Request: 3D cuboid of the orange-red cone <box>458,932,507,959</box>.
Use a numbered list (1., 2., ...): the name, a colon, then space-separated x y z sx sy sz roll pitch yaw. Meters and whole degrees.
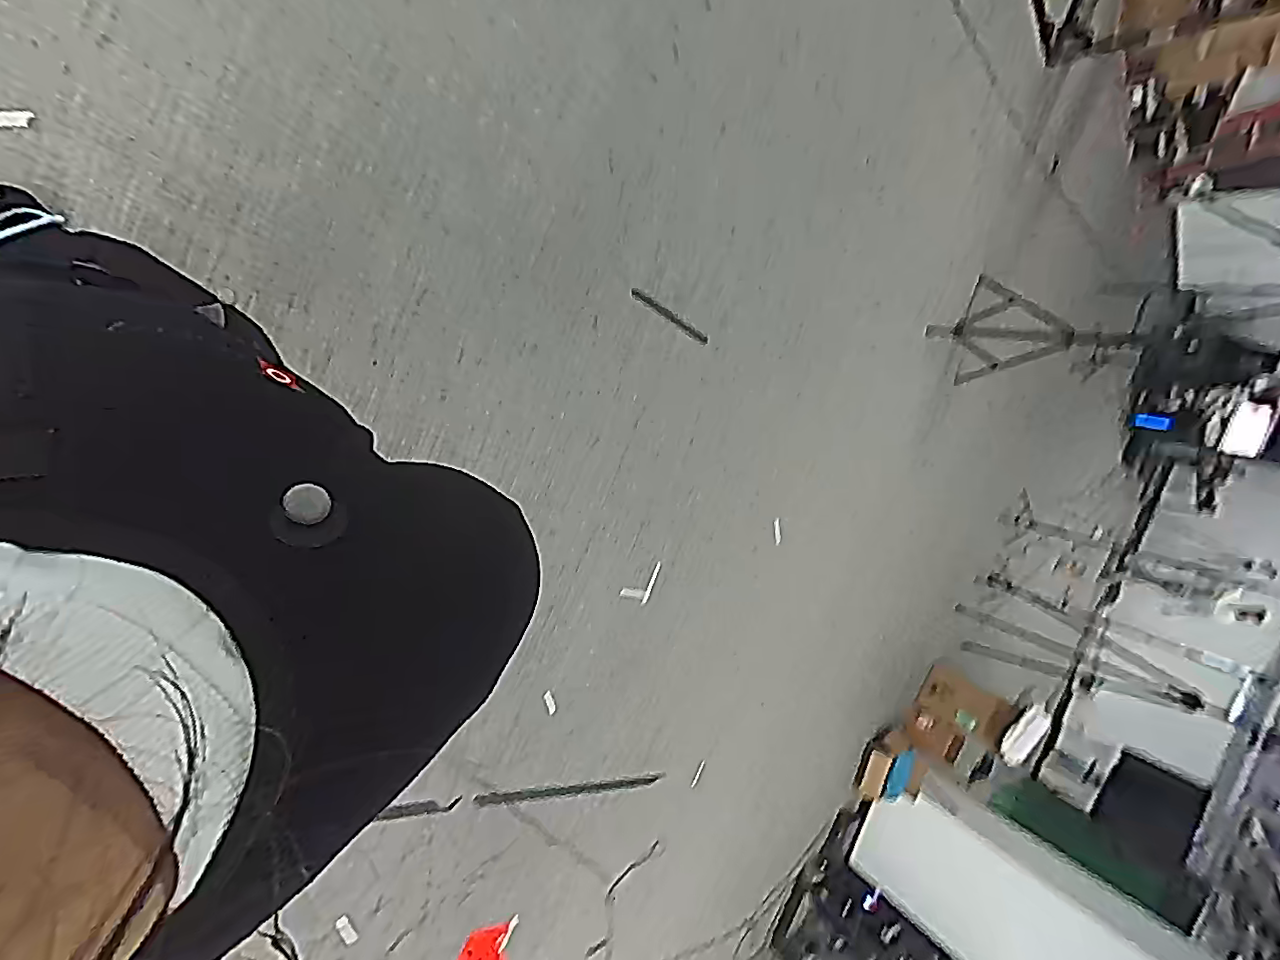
1. orange-red cone: -0.528 1.907 1.974 0.199 0.360 0.198 32 84 -41
